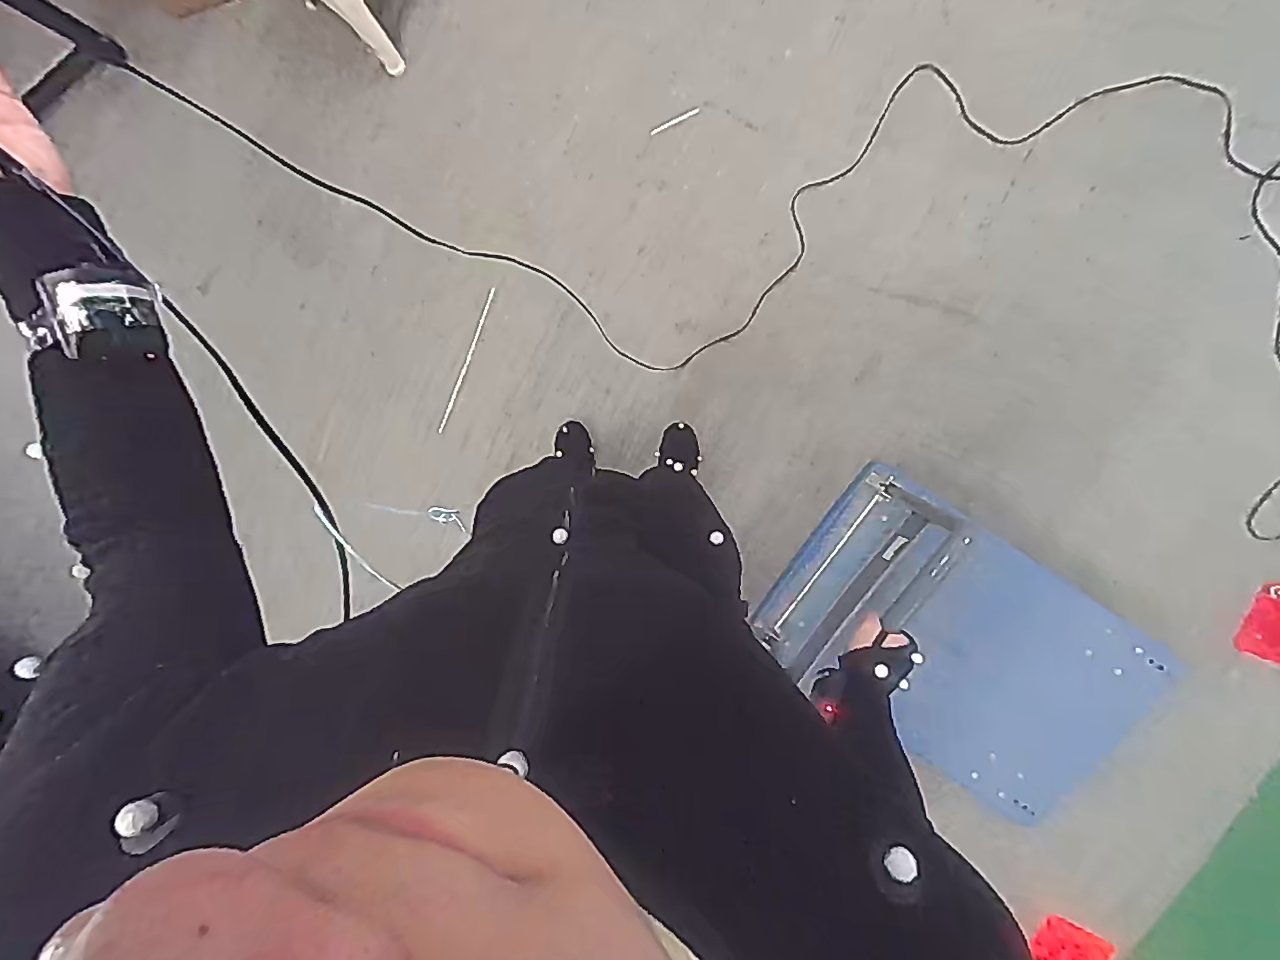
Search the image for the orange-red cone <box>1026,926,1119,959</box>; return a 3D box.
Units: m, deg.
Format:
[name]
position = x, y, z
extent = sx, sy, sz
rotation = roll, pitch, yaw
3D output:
[orange-red cone]
position = 1.222, 1.422, 1.395
extent = 0.199, 0.360, 0.198
rotation = 26, 101, 4
